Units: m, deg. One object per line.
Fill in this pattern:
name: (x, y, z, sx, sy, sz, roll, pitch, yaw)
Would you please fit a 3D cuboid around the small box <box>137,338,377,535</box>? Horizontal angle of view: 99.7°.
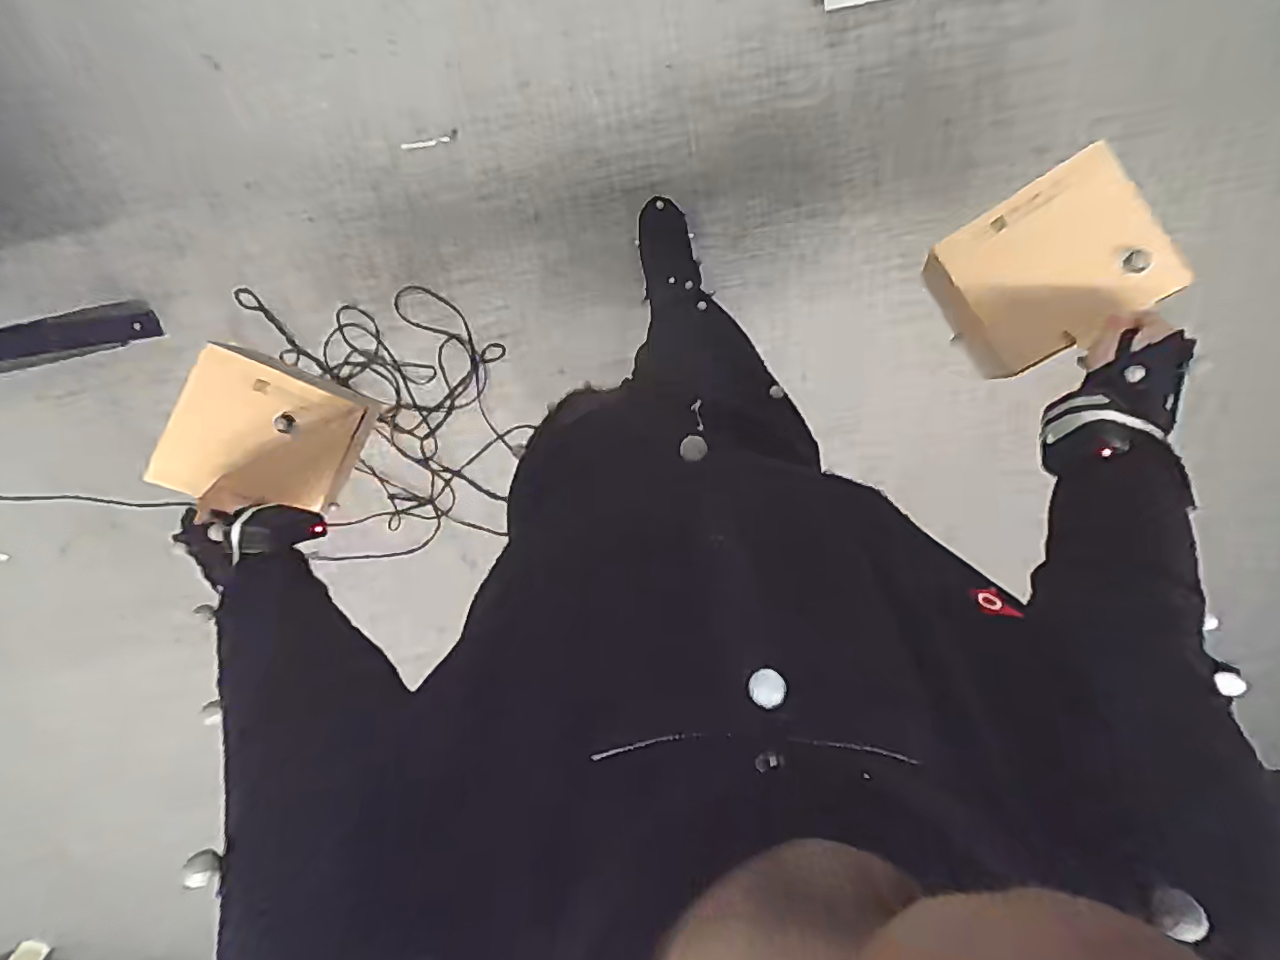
small box: (-0.444, -0.058, 0.663, 0.168, 0.179, 0.176, 26, 90, -22)
